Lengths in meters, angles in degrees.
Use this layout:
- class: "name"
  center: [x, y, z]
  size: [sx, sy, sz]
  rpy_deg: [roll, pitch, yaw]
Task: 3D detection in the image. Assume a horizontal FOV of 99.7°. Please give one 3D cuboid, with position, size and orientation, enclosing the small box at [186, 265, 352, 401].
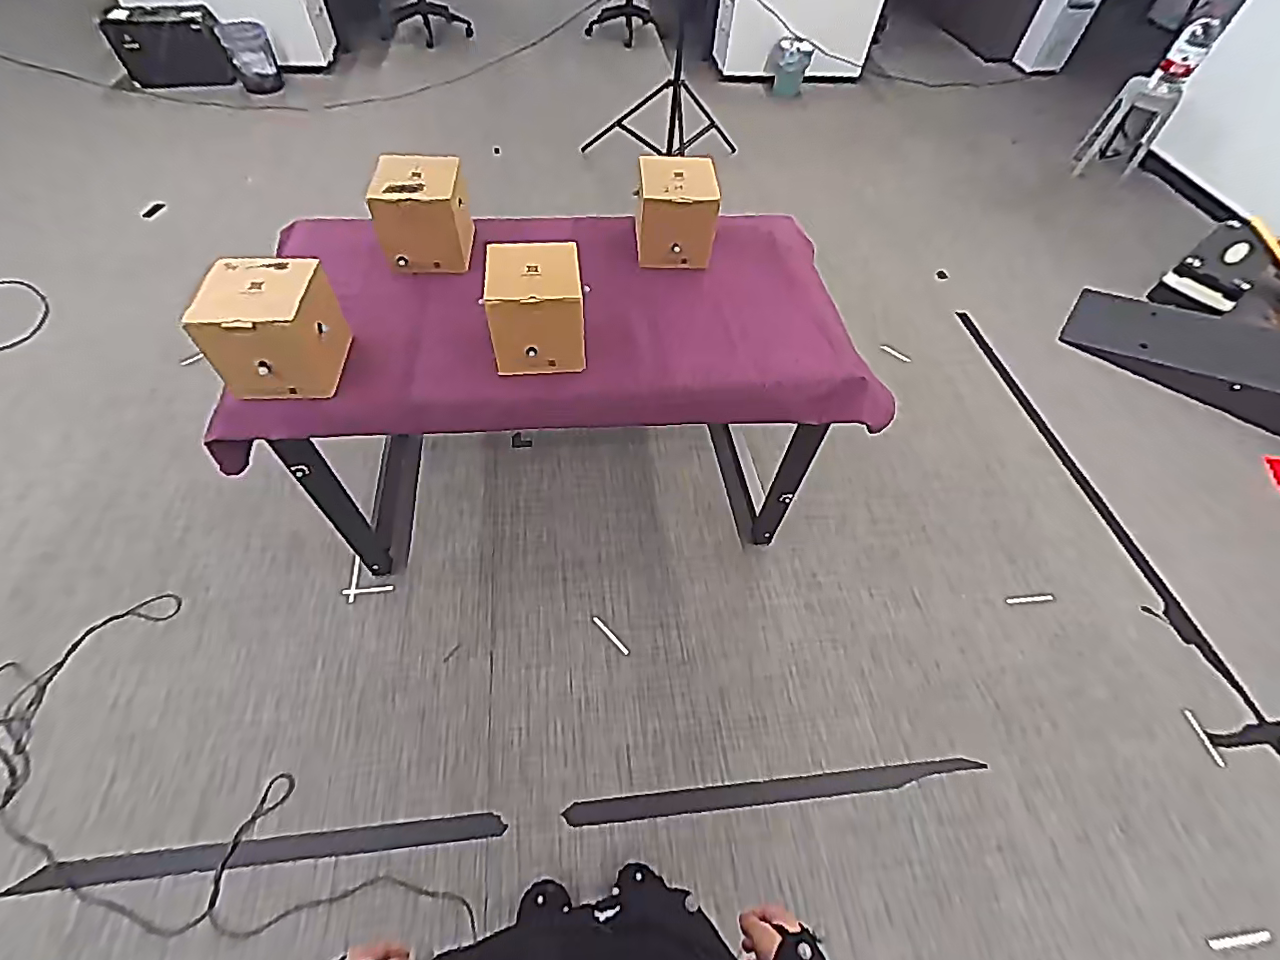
- class: "small box"
  center: [-0.634, -0.254, 0.953]
  size: [0.168, 0.176, 0.179]
  rpy_deg: [-2, 55, -6]

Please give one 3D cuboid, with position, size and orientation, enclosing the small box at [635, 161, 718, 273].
- class: "small box"
  center: [0.076, -0.605, 1.248]
  size: [0.168, 0.176, 0.179]
  rpy_deg: [-1, 57, -4]

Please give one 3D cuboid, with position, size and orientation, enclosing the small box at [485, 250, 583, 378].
- class: "small box"
  center: [-0.196, -0.316, 1.031]
  size: [0.168, 0.176, 0.179]
  rpy_deg: [-5, 54, -7]

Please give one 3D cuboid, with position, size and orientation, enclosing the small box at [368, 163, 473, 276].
- class: "small box"
  center: [-0.469, -0.567, 1.187]
  size: [0.168, 0.176, 0.179]
  rpy_deg: [-2, 56, -6]
